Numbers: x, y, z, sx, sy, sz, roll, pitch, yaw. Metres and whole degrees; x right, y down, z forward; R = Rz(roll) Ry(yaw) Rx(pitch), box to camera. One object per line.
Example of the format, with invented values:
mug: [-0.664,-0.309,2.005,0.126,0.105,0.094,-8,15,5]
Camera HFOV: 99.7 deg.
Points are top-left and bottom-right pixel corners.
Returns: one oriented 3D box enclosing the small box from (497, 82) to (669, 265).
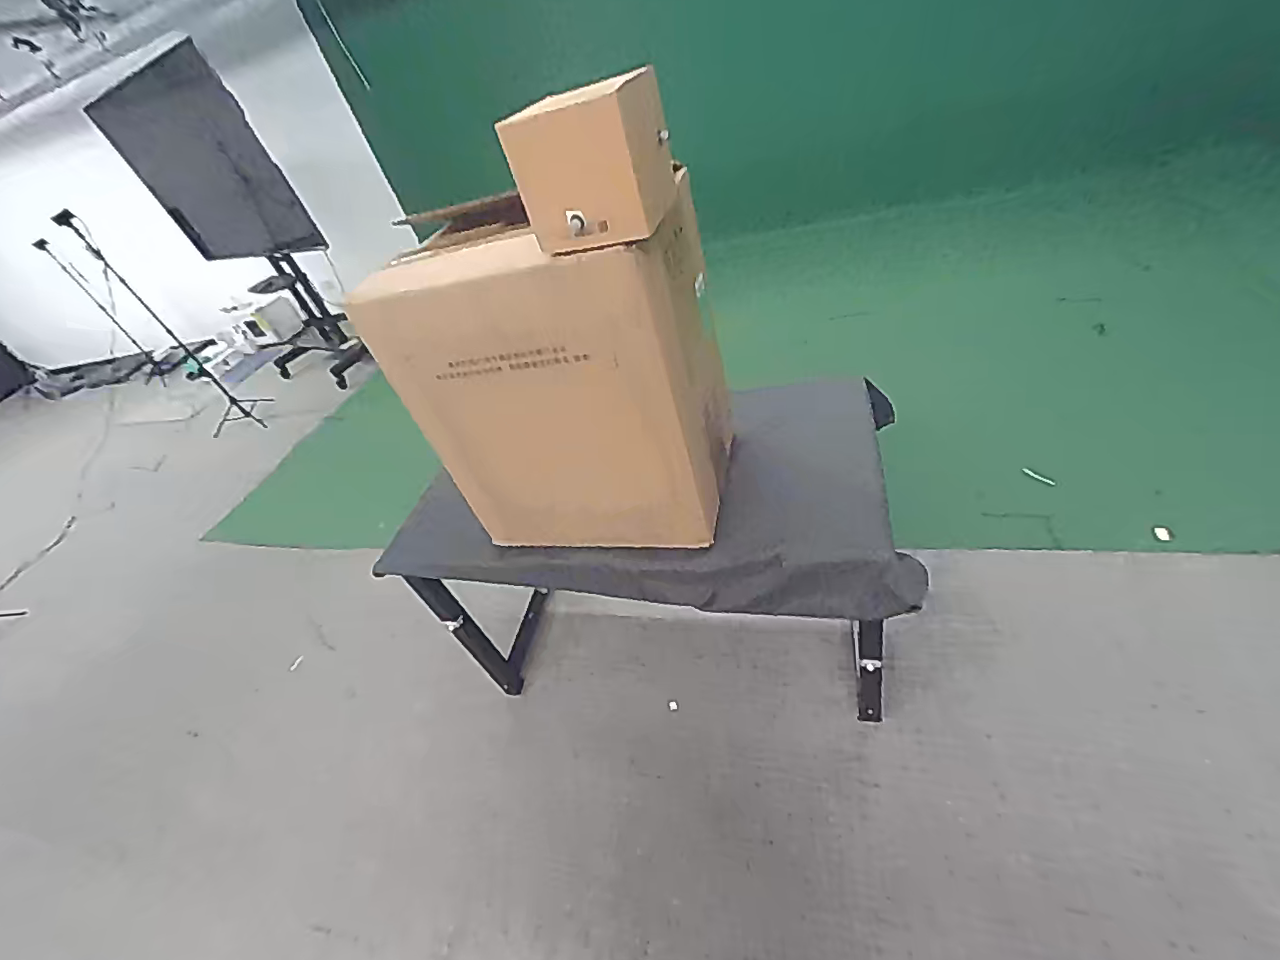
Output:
small box: [-0.065,-0.424,0.758,0.168,0.176,0.179,-3,43,21]
